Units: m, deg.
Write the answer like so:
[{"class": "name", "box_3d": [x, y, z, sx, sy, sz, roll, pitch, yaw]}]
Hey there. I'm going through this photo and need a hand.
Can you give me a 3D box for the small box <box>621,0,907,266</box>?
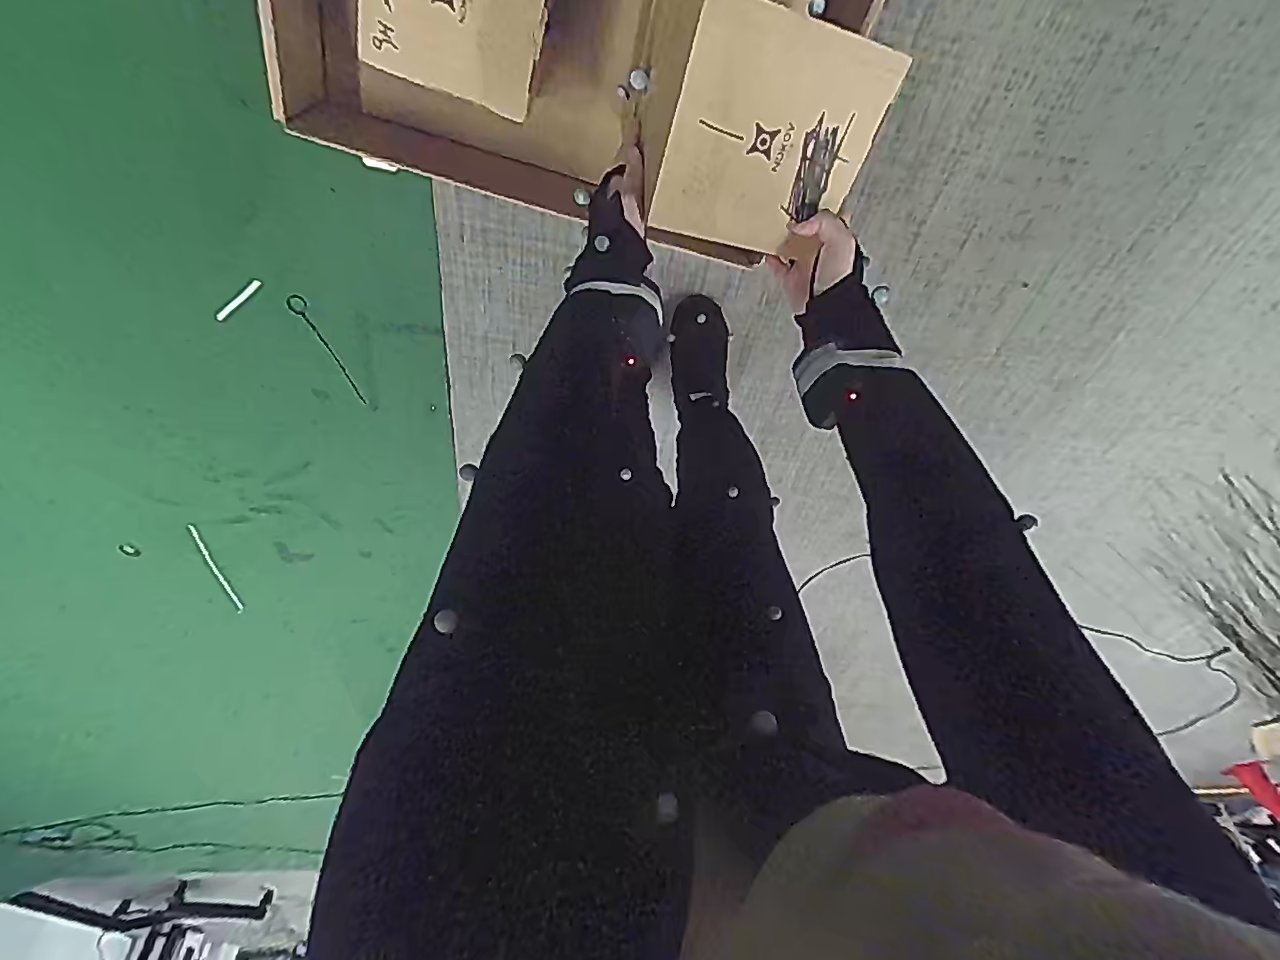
[{"class": "small box", "box_3d": [0.093, -0.325, 0.499, 0.179, 0.176, 0.168, 5, 132, -17]}]
